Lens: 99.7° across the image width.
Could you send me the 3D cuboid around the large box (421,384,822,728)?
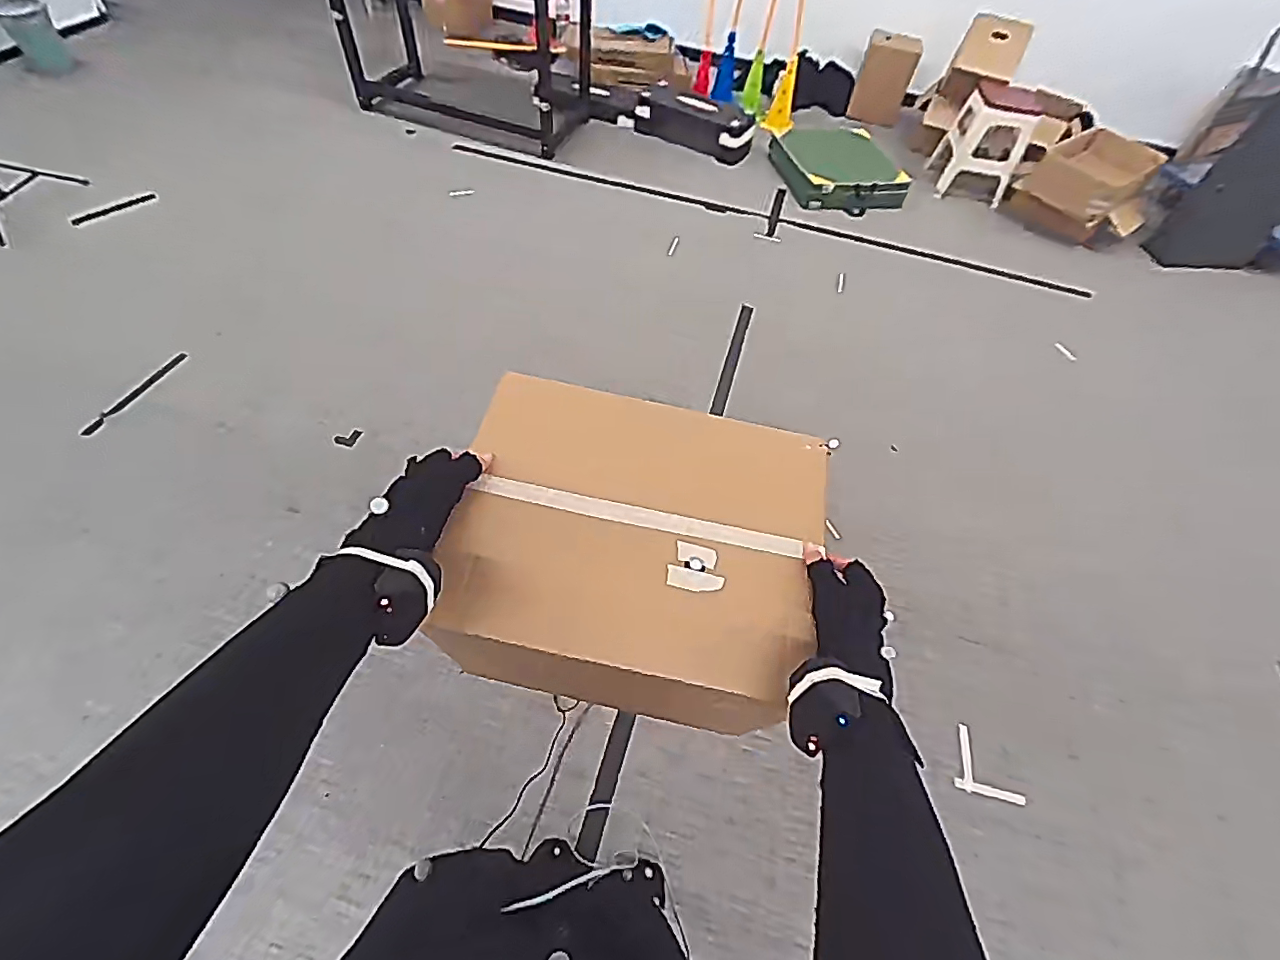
[{"bbox_3d":[-0.011,0.119,0.728,0.408,0.320,0.320,12,61,1],"label":"large box"}]
